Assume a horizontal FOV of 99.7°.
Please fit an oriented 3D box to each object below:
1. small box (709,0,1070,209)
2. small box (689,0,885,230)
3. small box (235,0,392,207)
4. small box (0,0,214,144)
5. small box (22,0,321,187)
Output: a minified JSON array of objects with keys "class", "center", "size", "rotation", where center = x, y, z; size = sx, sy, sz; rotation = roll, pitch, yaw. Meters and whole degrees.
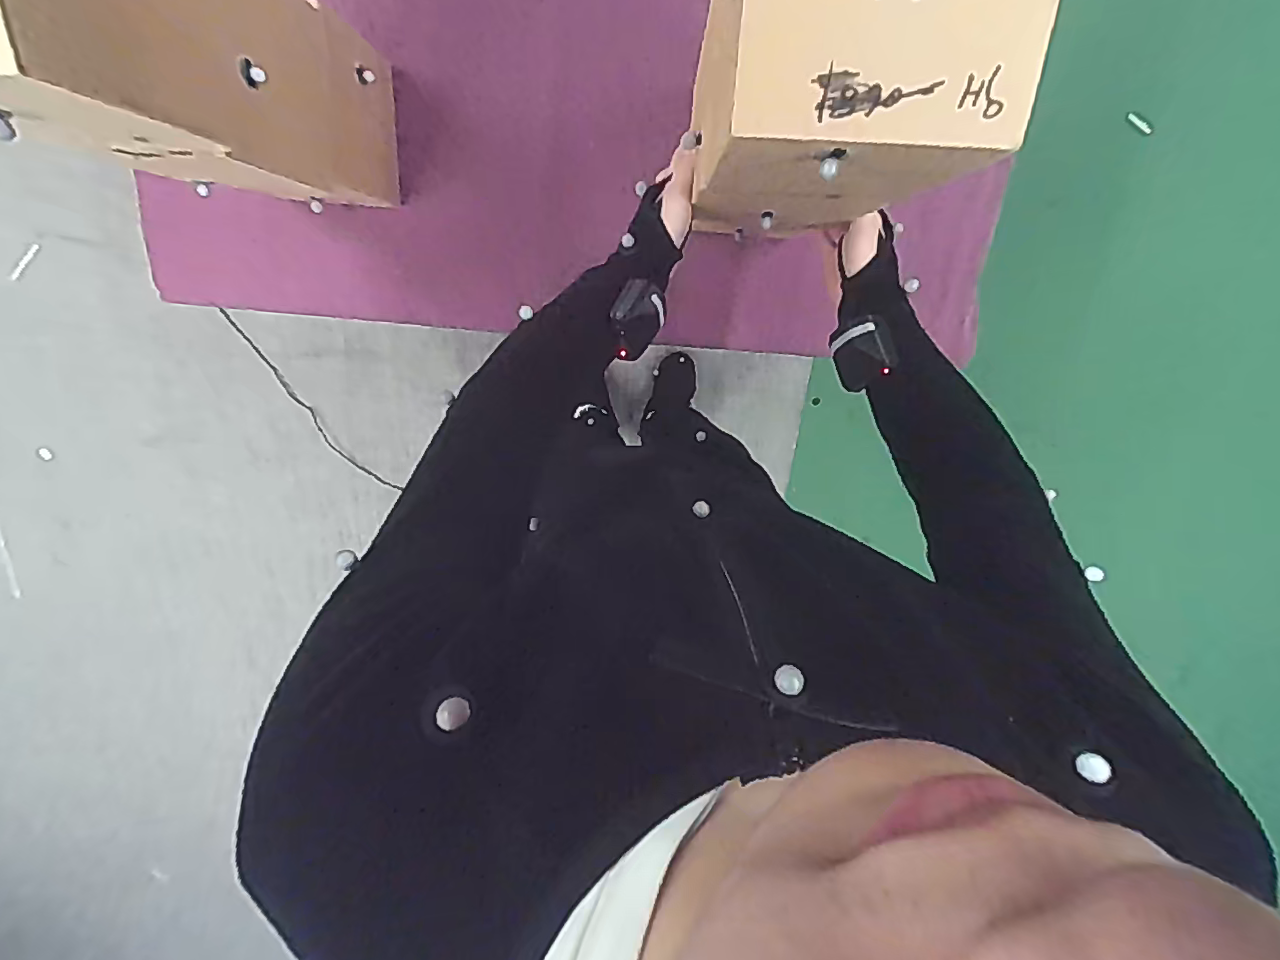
[{"class":"small box","center":[0.139,-0.289,0.346],"size":[0.168,0.176,0.179],"rotation":[4,108,1]},{"class":"small box","center":[0.139,-0.340,0.502],"size":[0.168,0.176,0.179],"rotation":[5,108,-1]},{"class":"small box","center":[-0.418,-0.444,0.649],"size":[0.168,0.176,0.179],"rotation":[5,108,0]},{"class":"small box","center":[-0.420,-0.333,0.343],"size":[0.168,0.176,0.179],"rotation":[2,107,1]},{"class":"small box","center":[-0.423,-0.384,0.497],"size":[0.168,0.176,0.179],"rotation":[5,107,0]}]
